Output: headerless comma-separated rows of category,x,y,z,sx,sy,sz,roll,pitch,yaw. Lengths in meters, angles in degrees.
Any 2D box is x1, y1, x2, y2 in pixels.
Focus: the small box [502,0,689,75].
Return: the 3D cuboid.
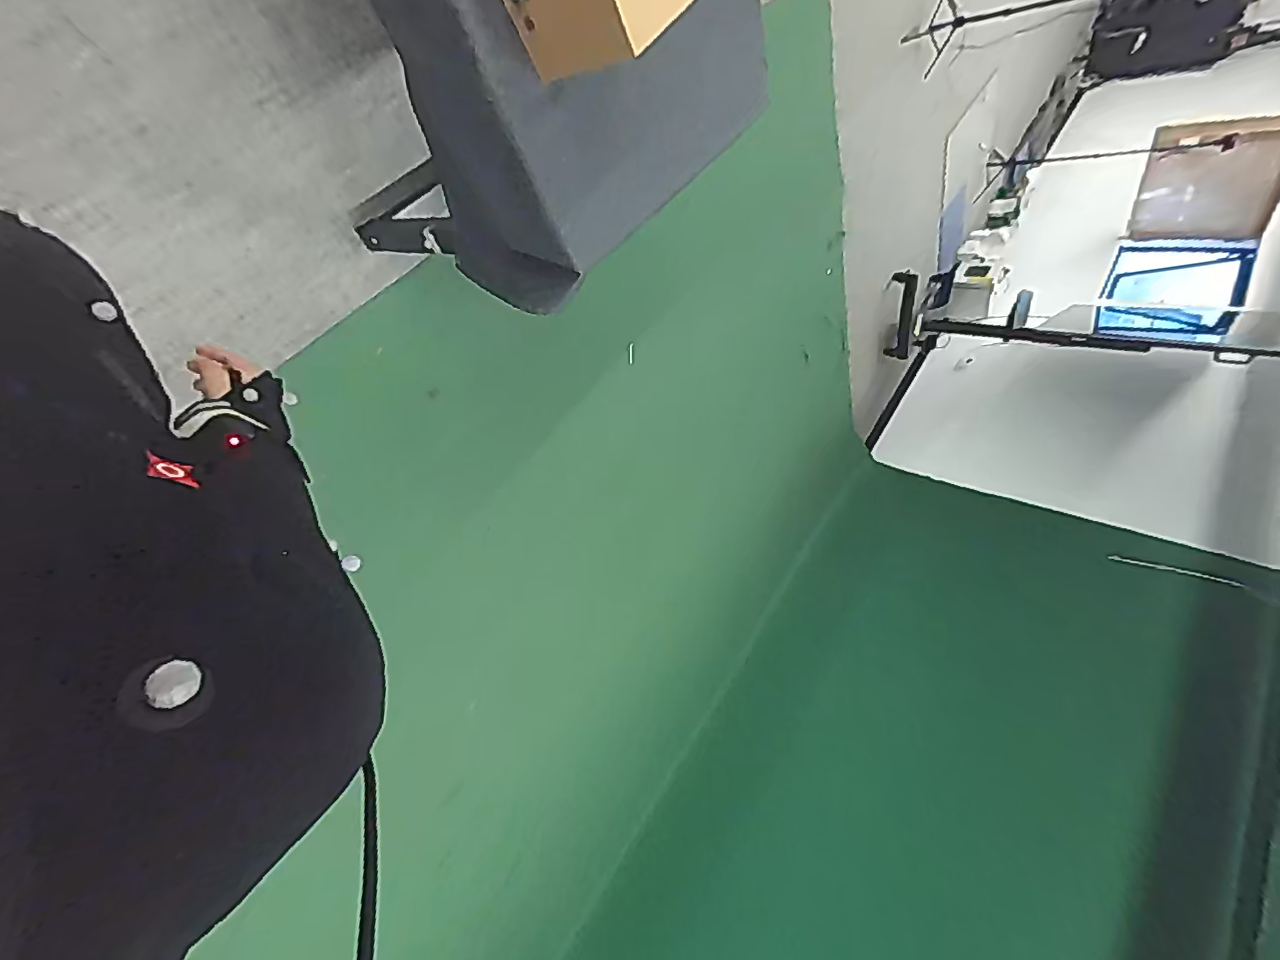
small box,-0.054,-0.604,0.612,0.179,0.176,0.168,-56,140,-17
